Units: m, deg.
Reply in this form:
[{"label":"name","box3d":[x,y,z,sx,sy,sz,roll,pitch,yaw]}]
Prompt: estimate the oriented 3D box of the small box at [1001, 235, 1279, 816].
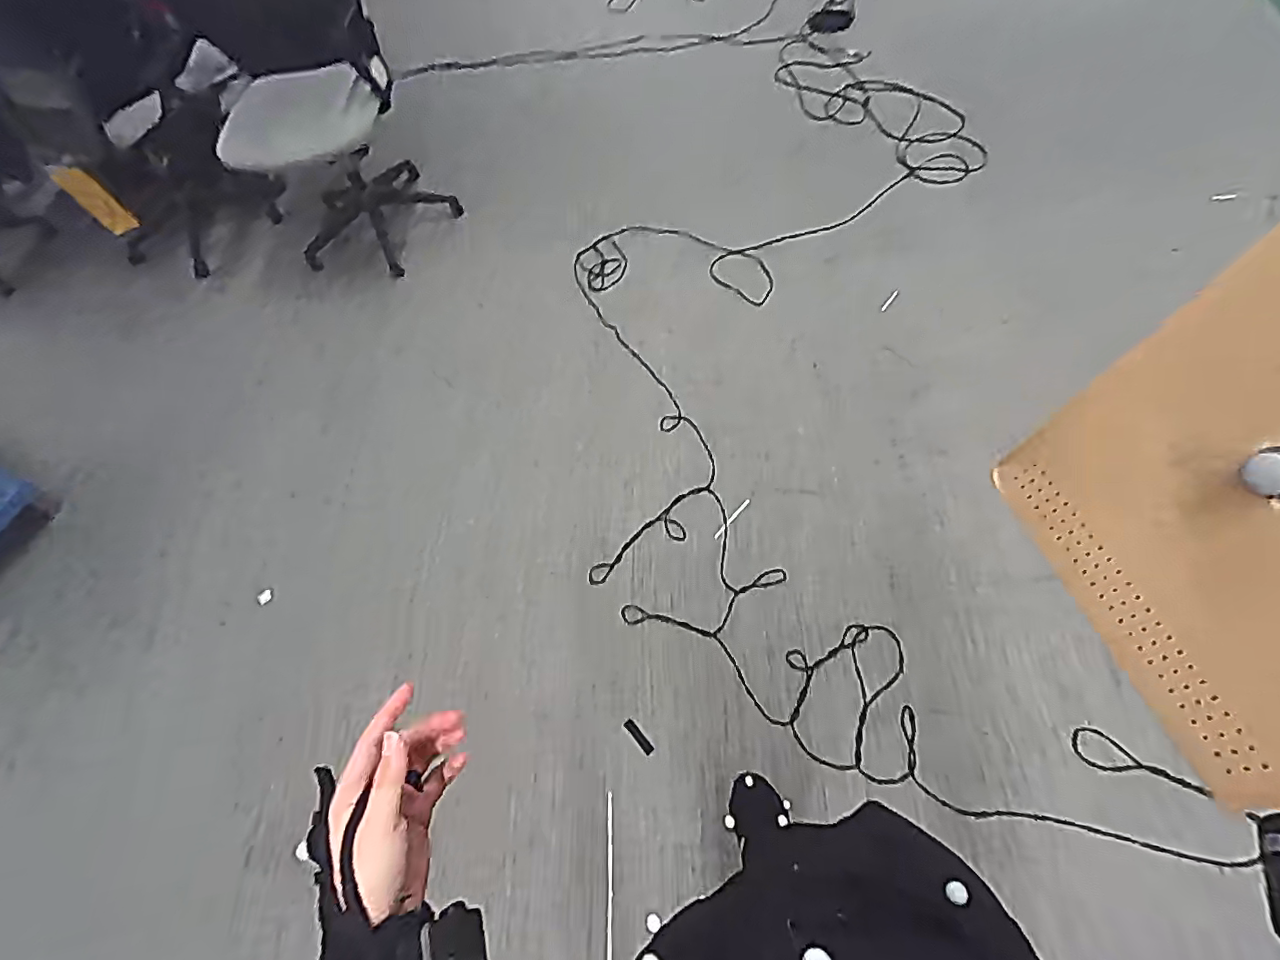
[{"label":"small box","box3d":[0.314,0.019,0.233,0.168,0.176,0.179,-6,55,-16]}]
